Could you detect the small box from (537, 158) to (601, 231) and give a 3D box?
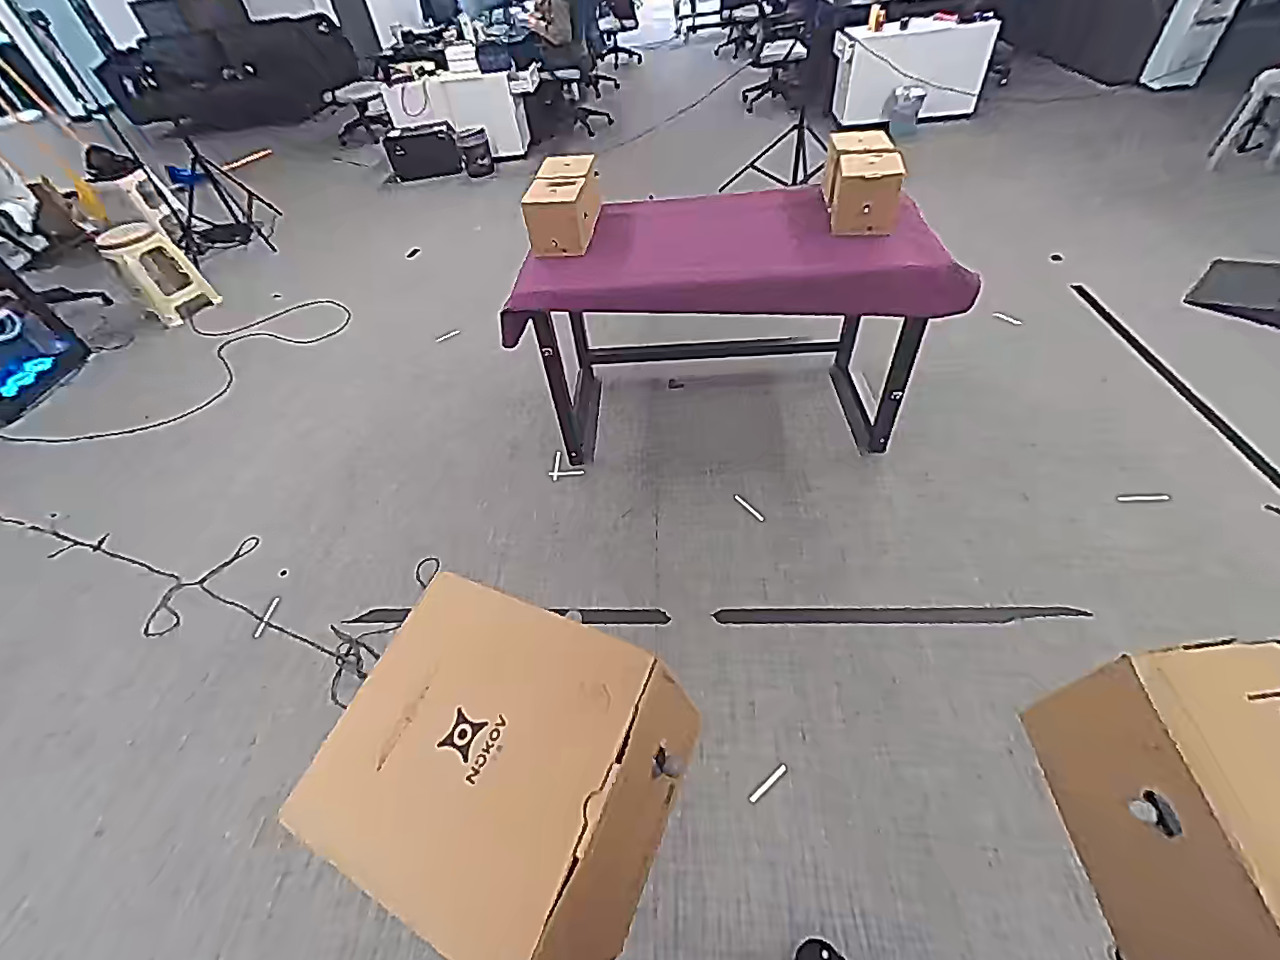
[{"bbox_3d":[-0.231,-0.952,1.808,0.168,0.176,0.179,1,49,8],"label":"small box"}]

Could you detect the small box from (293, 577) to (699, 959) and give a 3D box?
[{"bbox_3d":[-0.073,0.195,0.372,0.179,0.176,0.168,13,60,25],"label":"small box"}]

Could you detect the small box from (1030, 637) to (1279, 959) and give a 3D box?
[{"bbox_3d":[0.374,0.201,0.313,0.168,0.176,0.179,-10,55,8],"label":"small box"}]

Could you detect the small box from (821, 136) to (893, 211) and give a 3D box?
[{"bbox_3d":[0.684,-0.977,1.727,0.168,0.176,0.179,1,47,7],"label":"small box"}]
